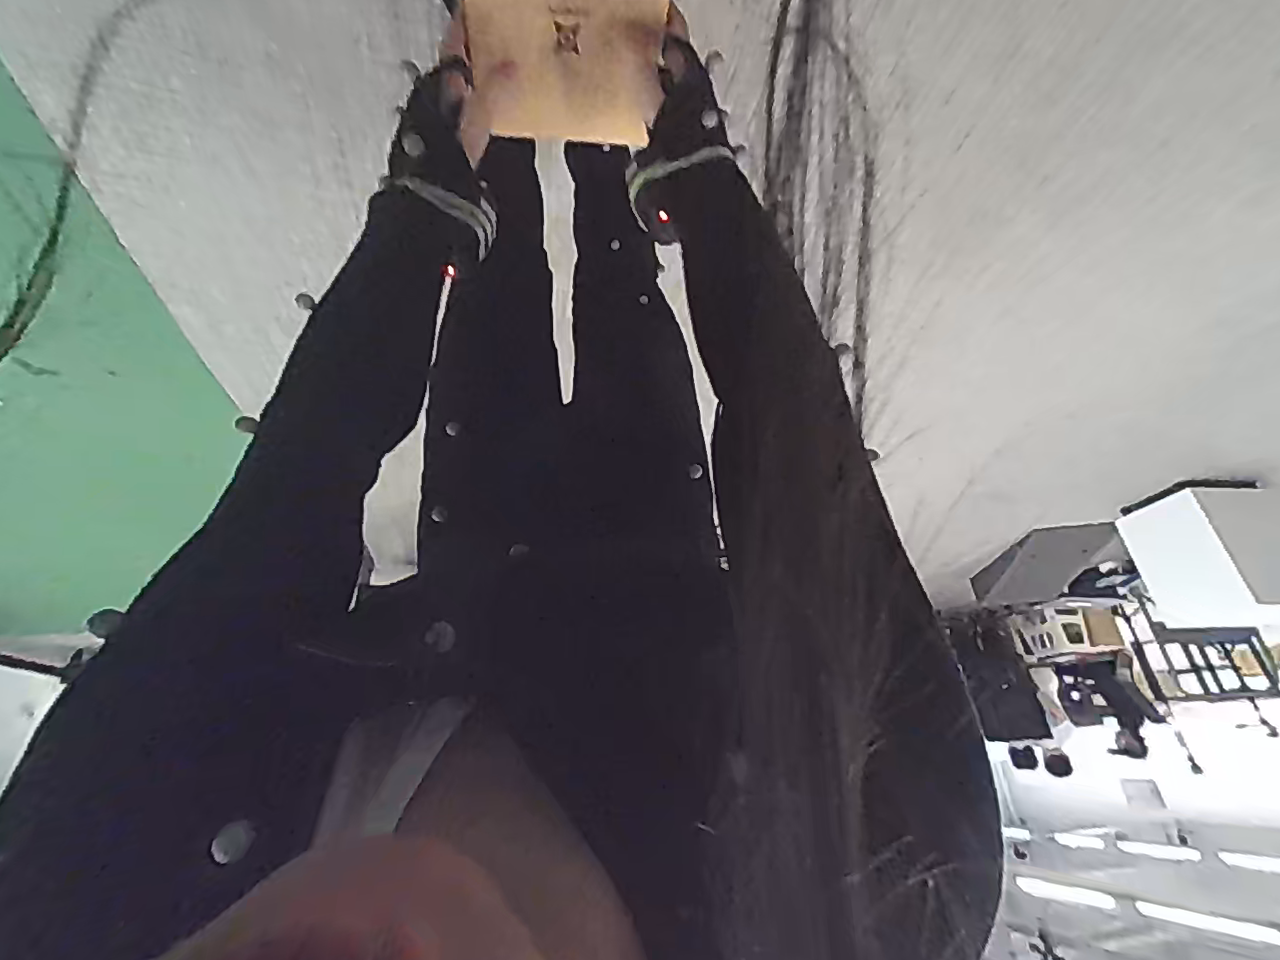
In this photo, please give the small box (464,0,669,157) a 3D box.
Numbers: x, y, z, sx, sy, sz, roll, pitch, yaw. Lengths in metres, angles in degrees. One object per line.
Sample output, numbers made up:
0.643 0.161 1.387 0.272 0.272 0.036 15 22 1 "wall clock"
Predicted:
-0.068 -0.437 0.497 0.168 0.176 0.179 -1 149 -9 "small box"
